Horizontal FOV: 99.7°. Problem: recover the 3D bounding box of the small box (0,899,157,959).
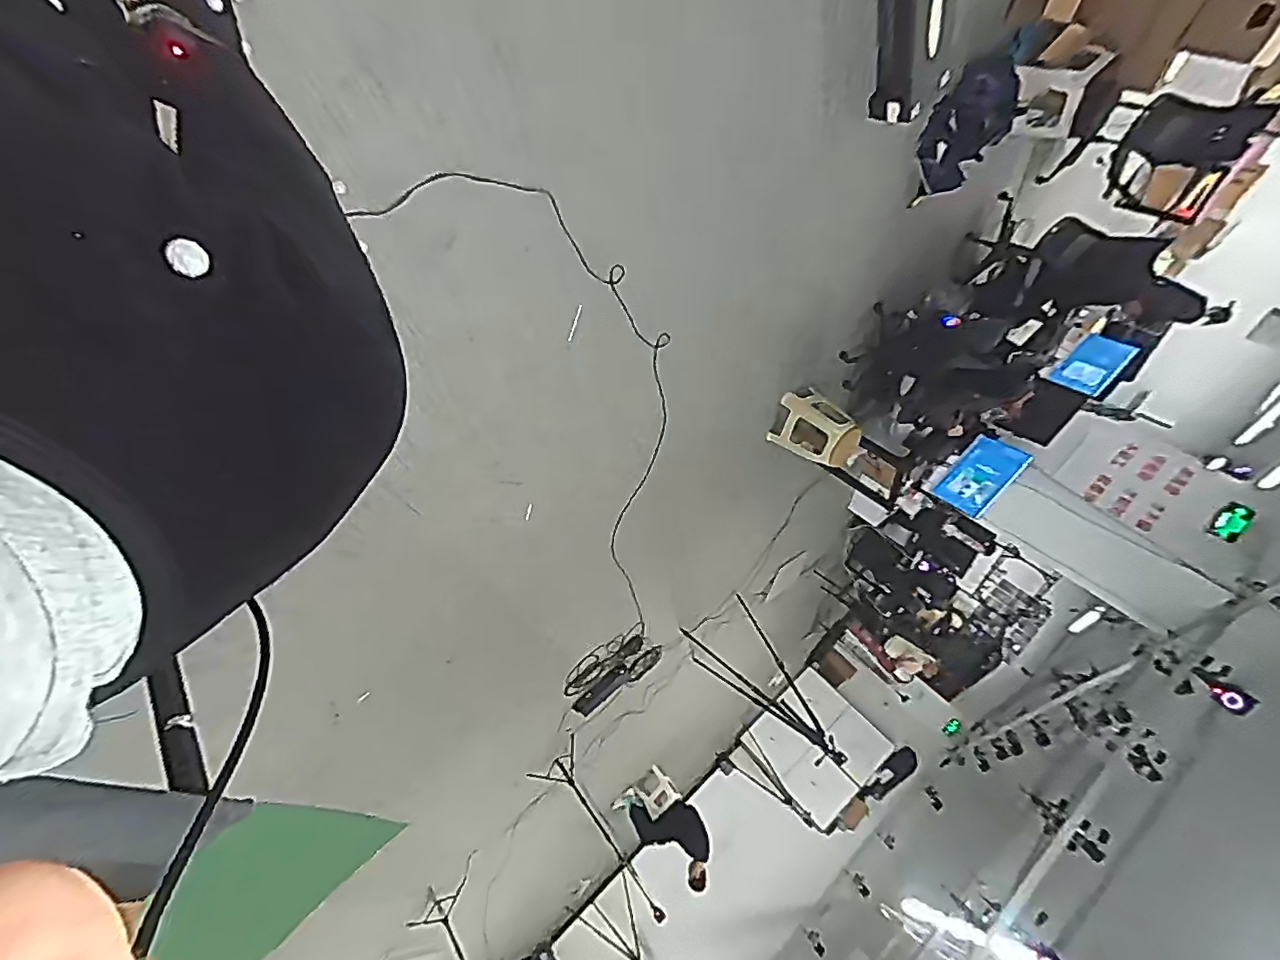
[{"bbox_3d":[-1.121,0.968,1.065,0.179,0.176,0.168,-42,146,-13],"label":"small box"}]
